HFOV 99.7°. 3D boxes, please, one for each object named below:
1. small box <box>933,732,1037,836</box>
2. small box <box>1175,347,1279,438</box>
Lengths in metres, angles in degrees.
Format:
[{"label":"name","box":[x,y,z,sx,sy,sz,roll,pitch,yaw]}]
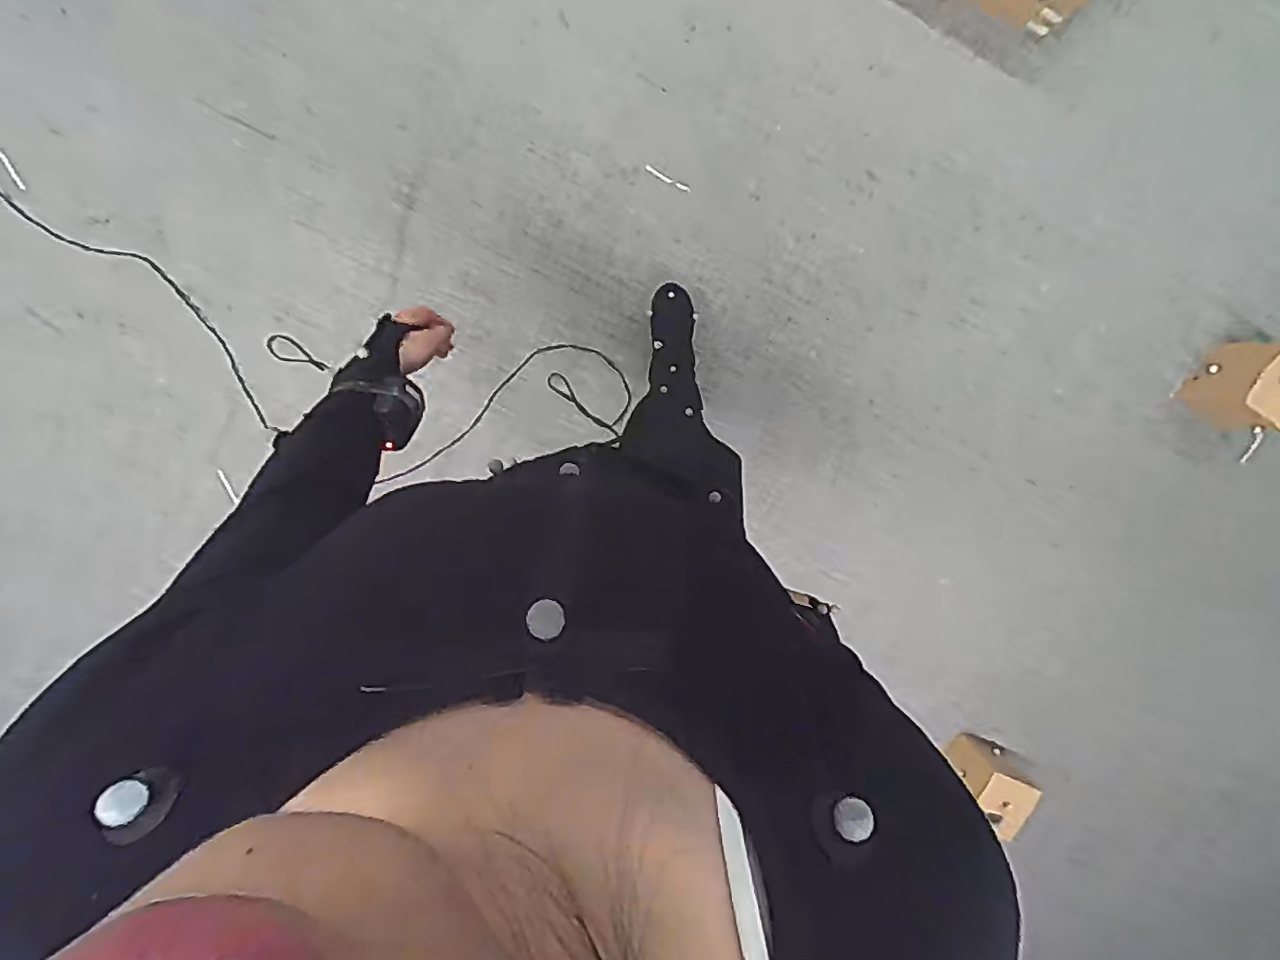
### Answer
[{"label":"small box","box":[1.013,0.899,1.609,0.168,0.176,0.179,26,100,-7]},{"label":"small box","box":[1.553,-0.228,1.378,0.179,0.176,0.168,31,99,-7]}]
